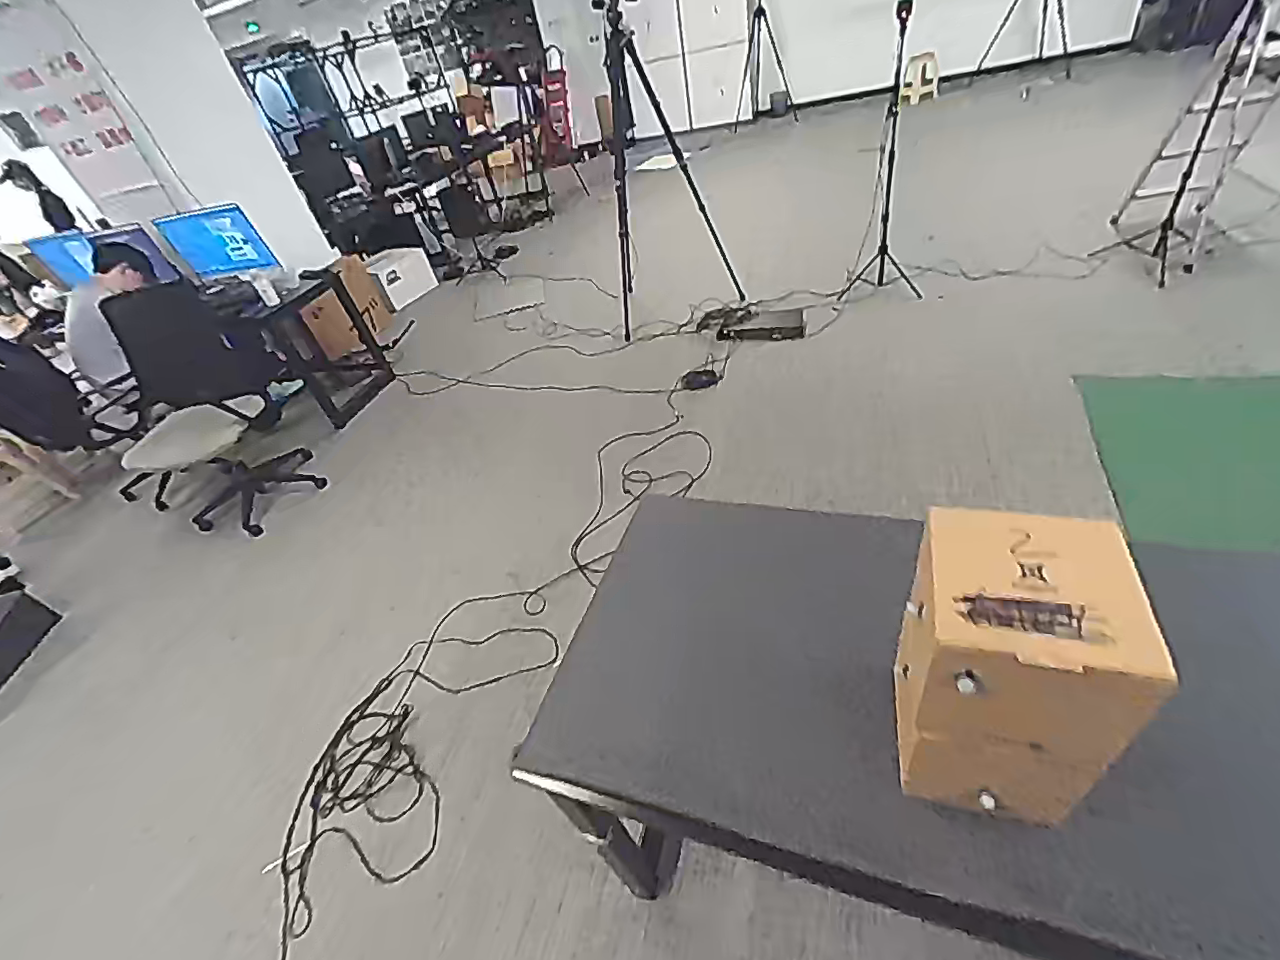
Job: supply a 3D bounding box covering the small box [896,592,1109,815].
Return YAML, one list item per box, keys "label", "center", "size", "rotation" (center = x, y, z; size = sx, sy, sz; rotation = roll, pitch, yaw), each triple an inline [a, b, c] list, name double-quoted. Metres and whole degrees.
- label: "small box"
  center: [0.409, 0.263, 0.650]
  size: [0.168, 0.176, 0.179]
  rotation: [2, 42, 20]
